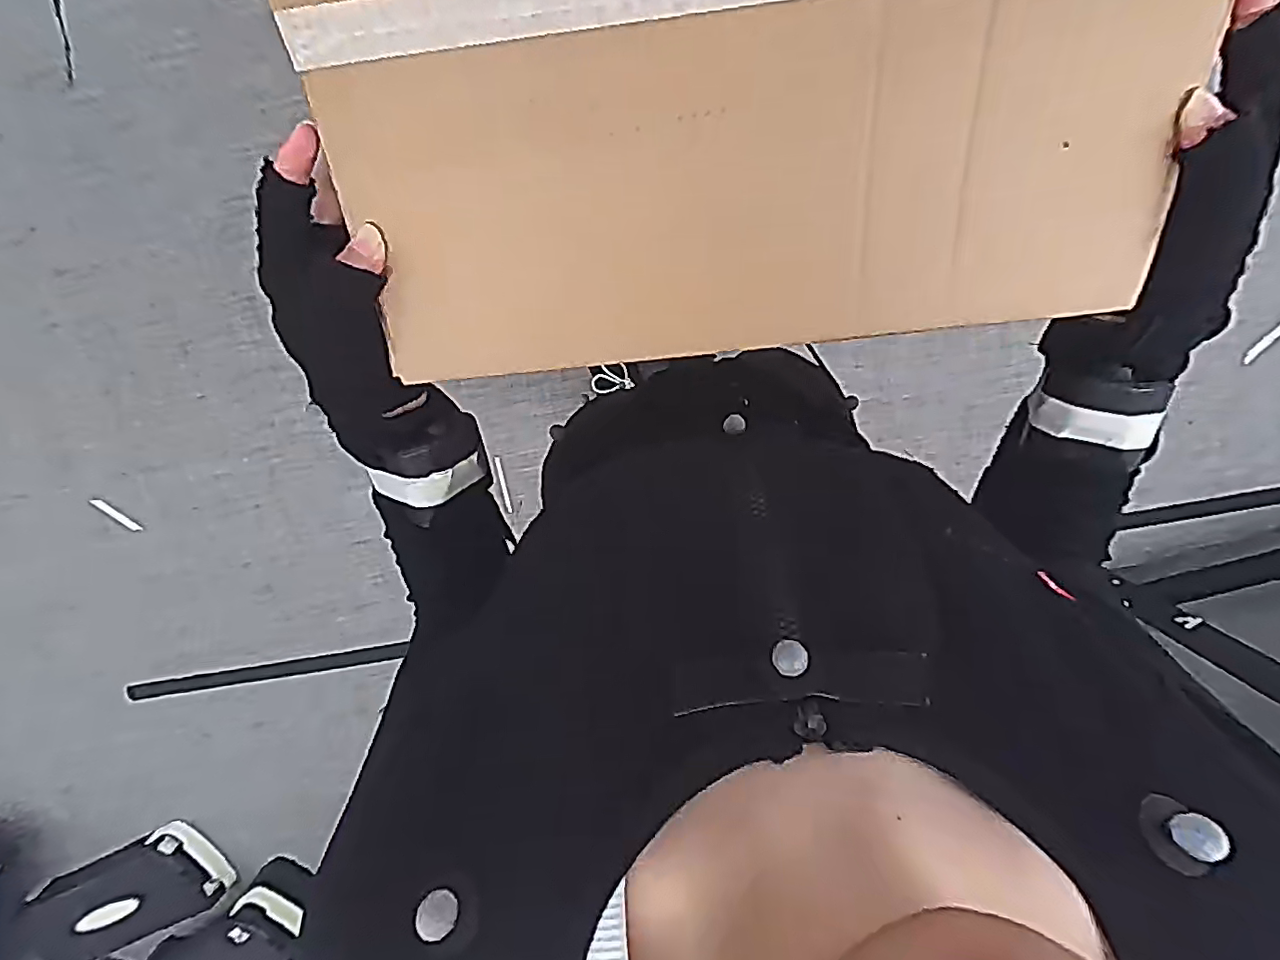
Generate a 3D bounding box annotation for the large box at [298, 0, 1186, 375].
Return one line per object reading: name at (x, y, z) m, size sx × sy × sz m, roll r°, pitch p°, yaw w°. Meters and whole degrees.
large box at (0.042, -0.285, 0.375) m, size 0.408 × 0.320 × 0.320 m, roll -6°, pitch 118°, yaw 3°
